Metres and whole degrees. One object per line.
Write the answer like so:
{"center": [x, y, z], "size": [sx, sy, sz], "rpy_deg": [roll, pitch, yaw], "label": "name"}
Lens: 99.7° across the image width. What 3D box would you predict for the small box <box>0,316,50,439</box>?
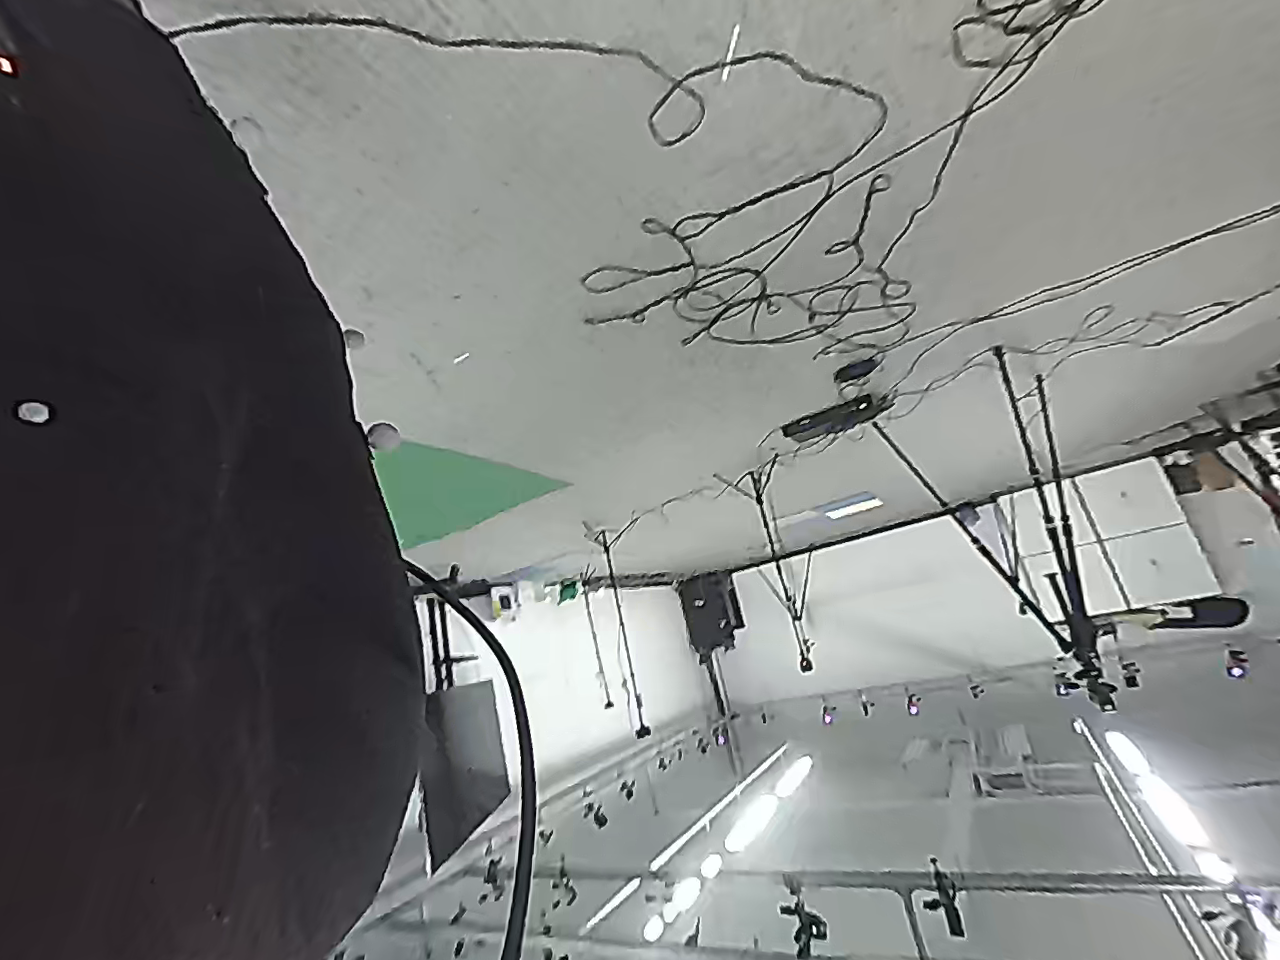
{"center": [-1.211, -0.194, 0.977], "size": [0.179, 0.176, 0.168], "rpy_deg": [-22, 162, 27], "label": "small box"}
